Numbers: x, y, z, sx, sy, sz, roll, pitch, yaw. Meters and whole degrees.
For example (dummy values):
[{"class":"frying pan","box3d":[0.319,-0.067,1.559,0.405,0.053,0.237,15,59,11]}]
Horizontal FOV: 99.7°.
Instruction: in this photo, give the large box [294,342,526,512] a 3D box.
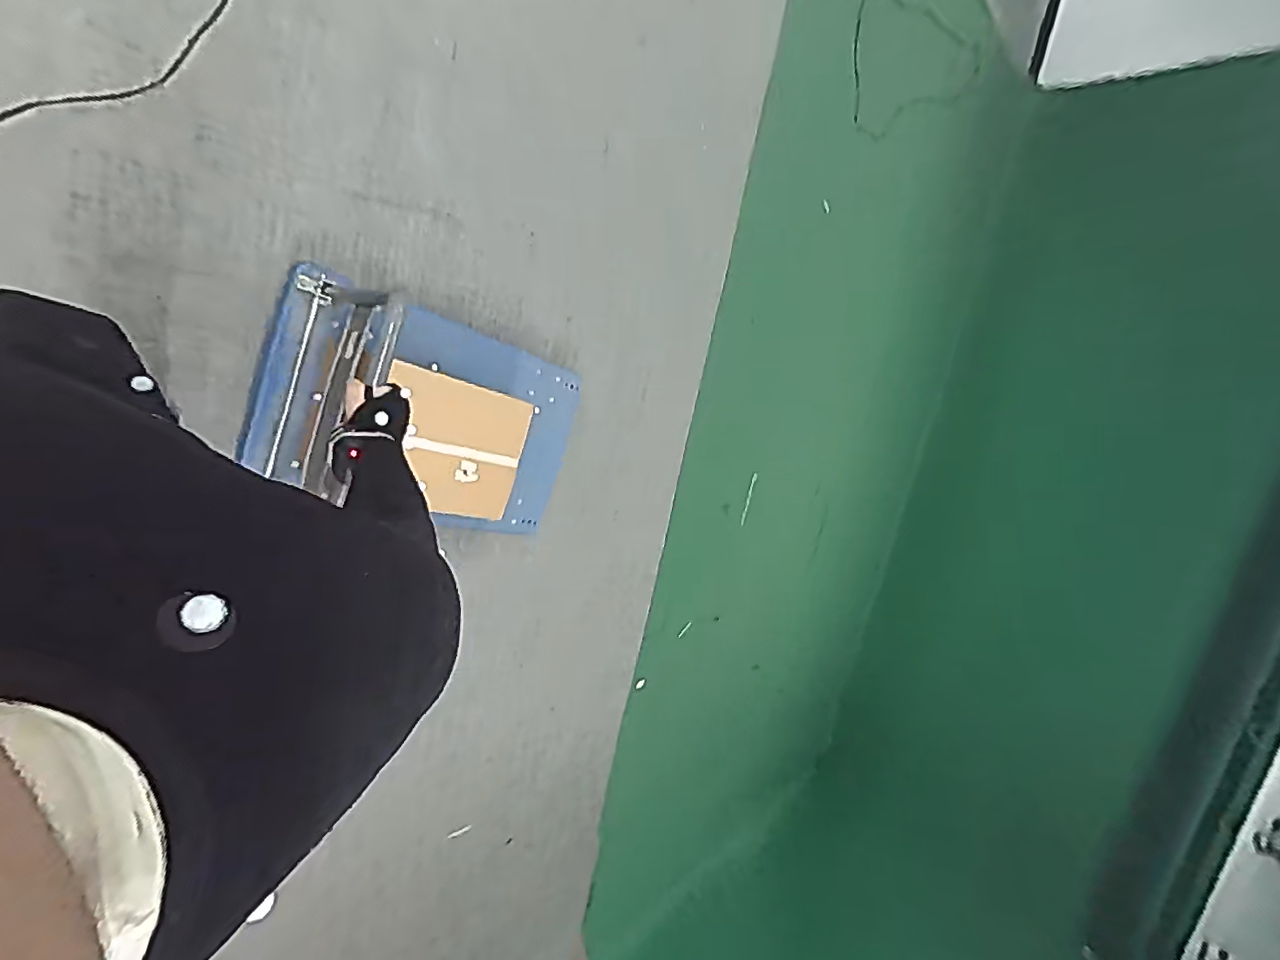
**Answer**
[{"class":"large box","box3d":[-0.565,-0.126,1.337,0.408,0.320,0.320,13,96,-48]}]
